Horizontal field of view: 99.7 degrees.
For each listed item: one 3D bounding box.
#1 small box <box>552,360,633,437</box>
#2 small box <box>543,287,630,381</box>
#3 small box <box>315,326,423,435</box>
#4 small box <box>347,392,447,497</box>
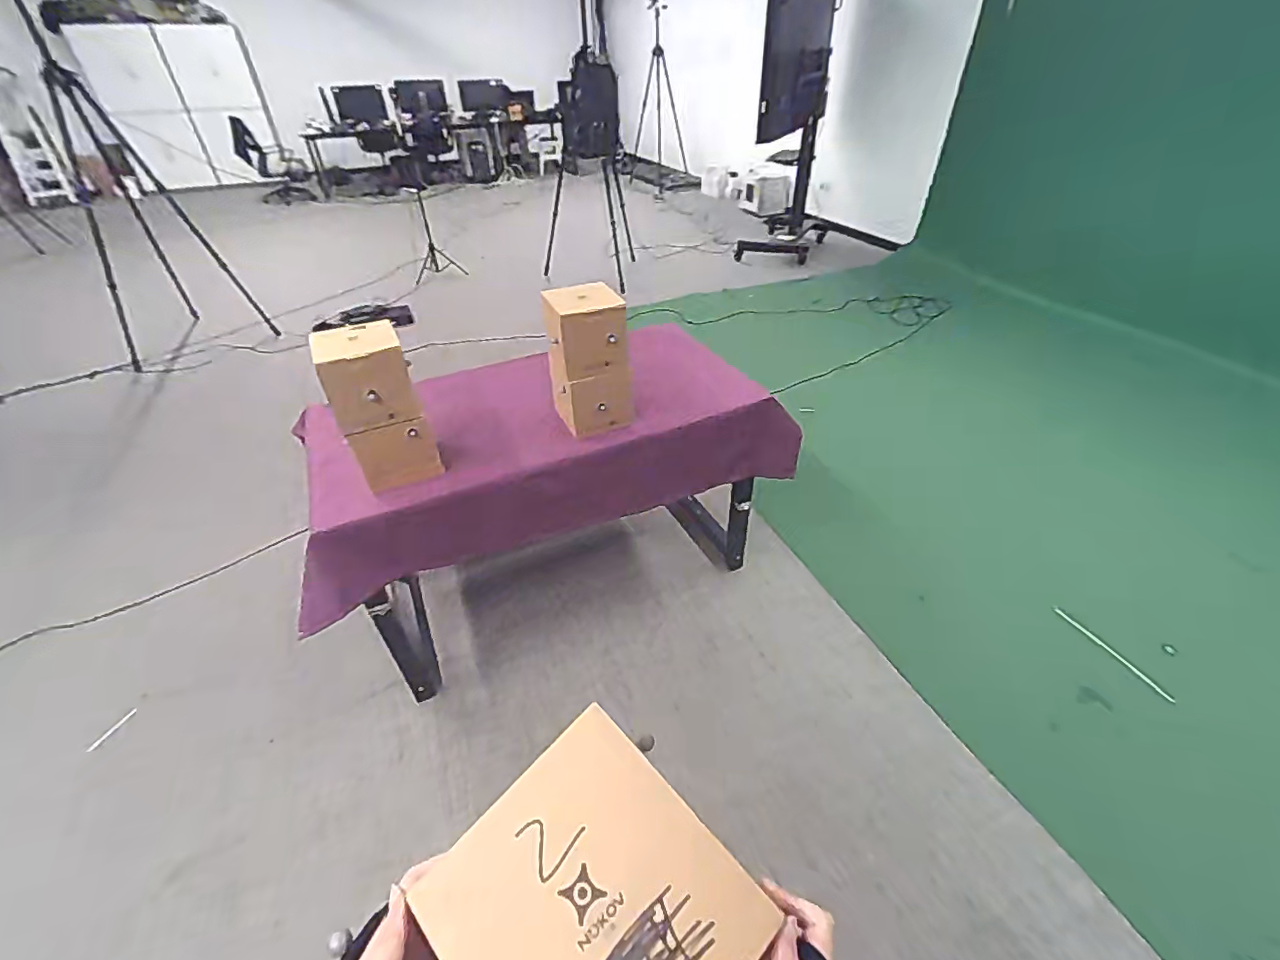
[{"bbox_3d":[-0.123,-0.228,1.442,0.168,0.176,0.179,-17,40,-18],"label":"small box"},{"bbox_3d":[-0.130,-0.359,1.344,0.168,0.176,0.179,-16,40,-17],"label":"small box"},{"bbox_3d":[-0.590,-0.214,1.185,0.168,0.176,0.179,-19,41,-21],"label":"small box"},{"bbox_3d":[-0.579,-0.084,1.285,0.179,0.176,0.168,-19,41,-21],"label":"small box"}]
